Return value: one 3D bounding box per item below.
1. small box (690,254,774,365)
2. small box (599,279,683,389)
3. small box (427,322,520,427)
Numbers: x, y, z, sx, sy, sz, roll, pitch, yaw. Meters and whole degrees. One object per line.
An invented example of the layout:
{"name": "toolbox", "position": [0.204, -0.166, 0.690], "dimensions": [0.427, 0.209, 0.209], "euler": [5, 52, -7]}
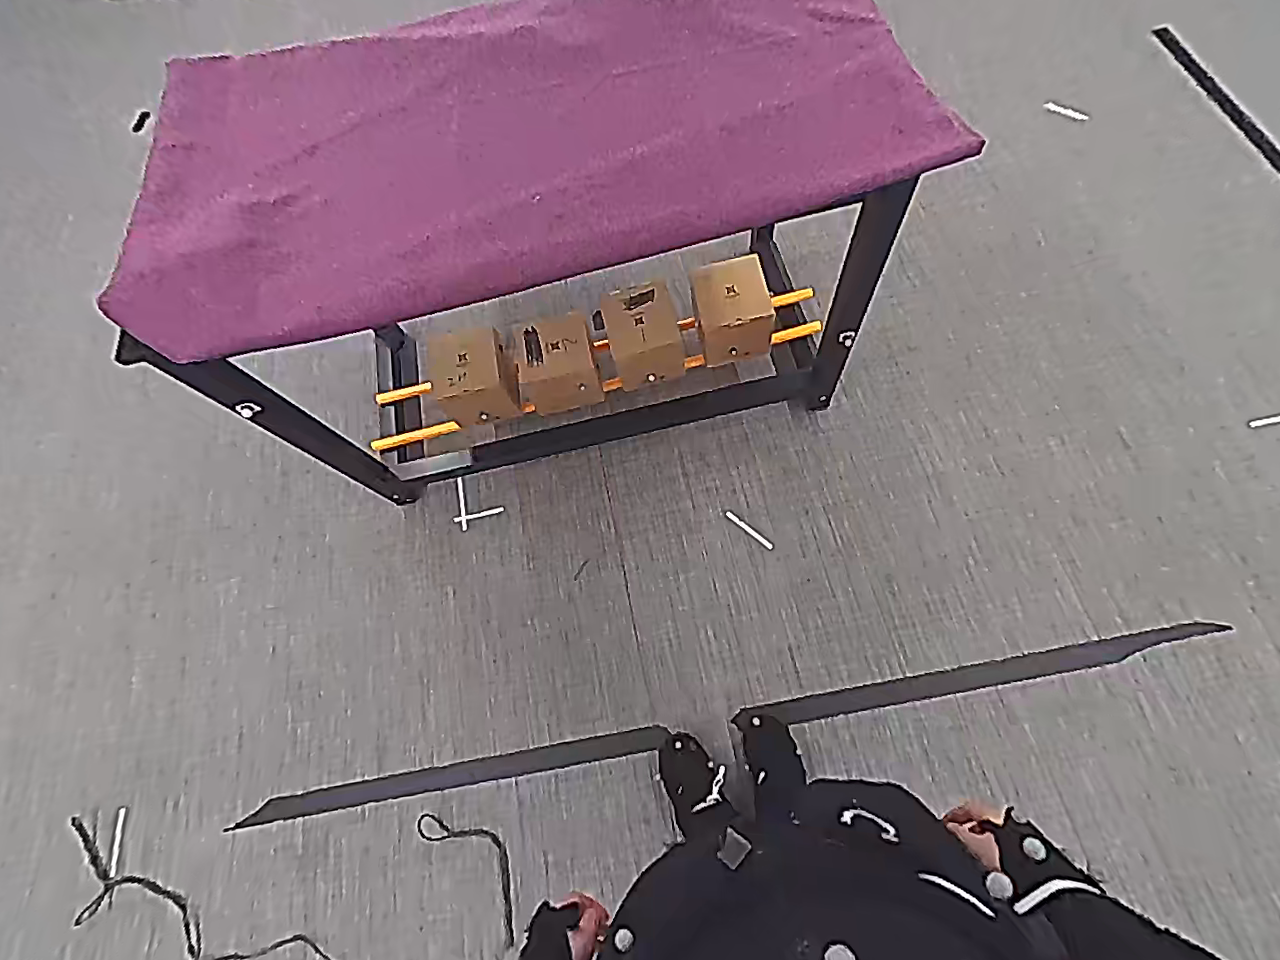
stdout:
{"name": "small box", "position": [0.218, -0.410, 1.317], "dimensions": [0.168, 0.176, 0.179], "euler": [-12, 71, 4]}
{"name": "small box", "position": [0.006, -0.352, 1.327], "dimensions": [0.168, 0.176, 0.179], "euler": [-15, 71, 3]}
{"name": "small box", "position": [-0.410, -0.257, 1.343], "dimensions": [0.168, 0.176, 0.179], "euler": [-13, 70, 3]}
